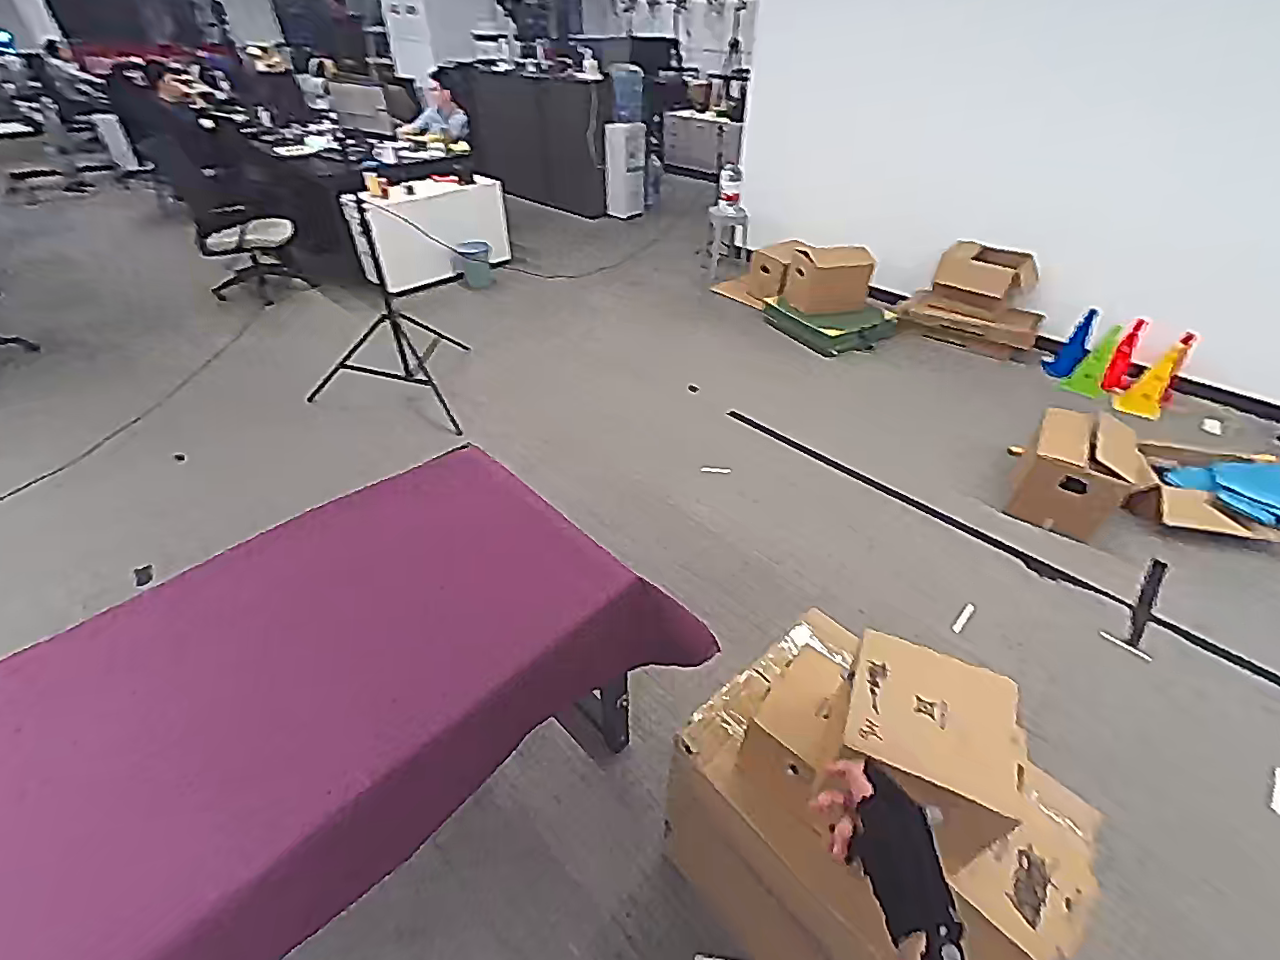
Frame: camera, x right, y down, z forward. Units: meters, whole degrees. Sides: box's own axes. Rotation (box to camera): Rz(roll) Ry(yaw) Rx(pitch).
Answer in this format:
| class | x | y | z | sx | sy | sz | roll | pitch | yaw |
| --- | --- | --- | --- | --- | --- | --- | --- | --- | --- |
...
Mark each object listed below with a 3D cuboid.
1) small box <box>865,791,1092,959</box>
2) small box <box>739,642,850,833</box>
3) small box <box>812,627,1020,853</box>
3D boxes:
| class | x | y | z | sx | sy | sz | roll | pitch | yaw |
| --- | --- | --- | --- | --- | --- | --- | --- | --- | --- |
| small box | 0.427 | 0.497 | 0.706 | 0.168 | 0.176 | 0.179 | -32 | 47 | -32 |
| small box | 0.271 | 0.394 | 0.829 | 0.179 | 0.176 | 0.168 | 31 | 50 | 29 |
| small box | 0.330 | 0.320 | 0.663 | 0.179 | 0.176 | 0.168 | 17 | 43 | 19 |
